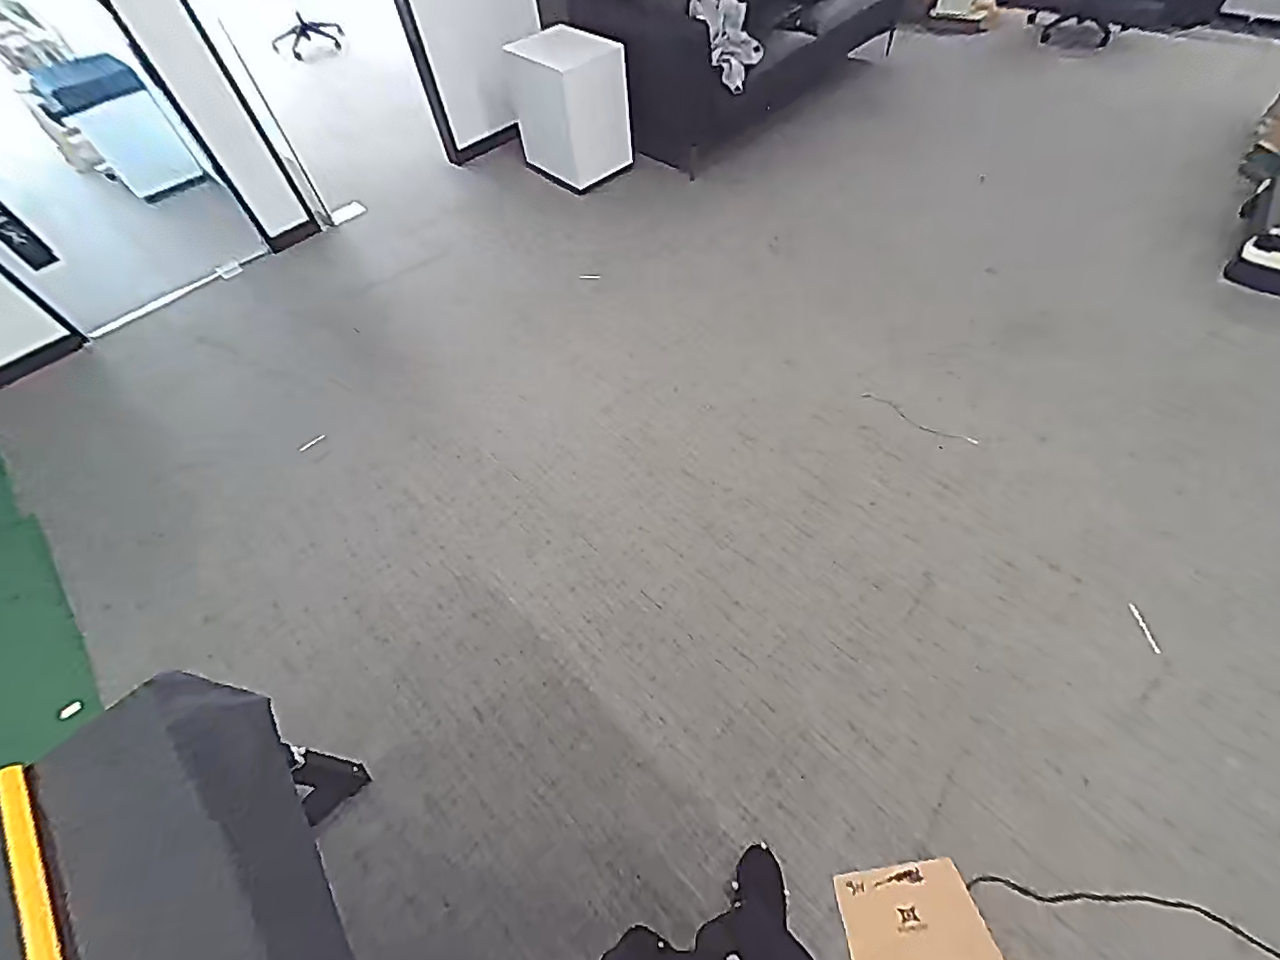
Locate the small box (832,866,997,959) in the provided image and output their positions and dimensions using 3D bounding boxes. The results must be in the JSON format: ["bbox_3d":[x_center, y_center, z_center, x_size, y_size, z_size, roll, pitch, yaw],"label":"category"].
[{"bbox_3d":[0.365,0.642,0.675,0.168,0.179,0.176,-20,91,8],"label":"small box"}]
